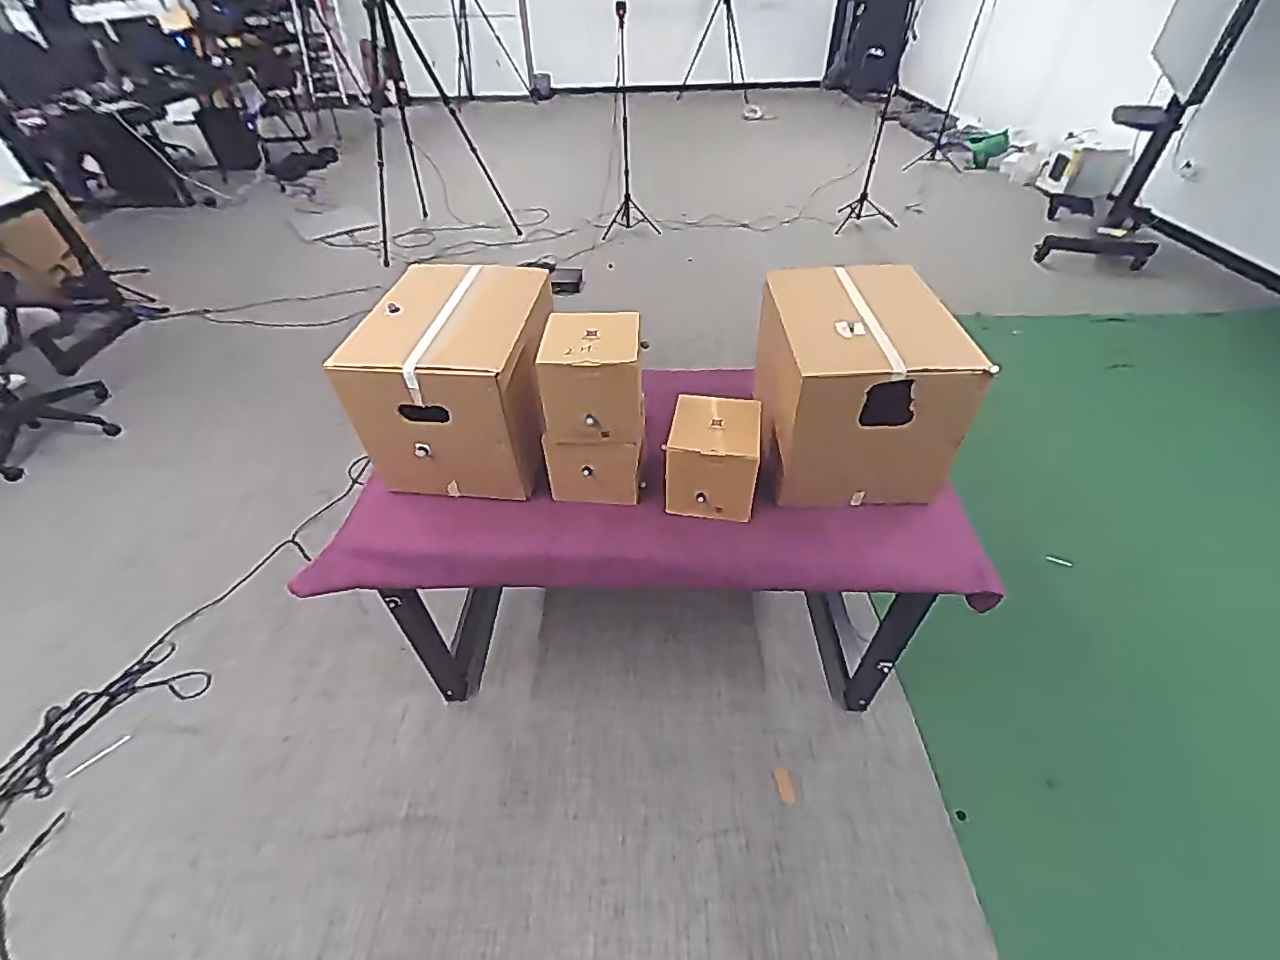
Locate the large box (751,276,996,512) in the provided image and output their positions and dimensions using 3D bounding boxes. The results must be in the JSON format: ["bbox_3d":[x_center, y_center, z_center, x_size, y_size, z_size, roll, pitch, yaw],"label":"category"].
[{"bbox_3d":[0.426,-0.185,1.115,0.320,0.320,0.408,-2,44,3],"label":"large box"}]

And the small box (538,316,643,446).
[{"bbox_3d":[-0.080,-0.182,0.984,0.168,0.176,0.179,0,44,3],"label":"small box"}]
